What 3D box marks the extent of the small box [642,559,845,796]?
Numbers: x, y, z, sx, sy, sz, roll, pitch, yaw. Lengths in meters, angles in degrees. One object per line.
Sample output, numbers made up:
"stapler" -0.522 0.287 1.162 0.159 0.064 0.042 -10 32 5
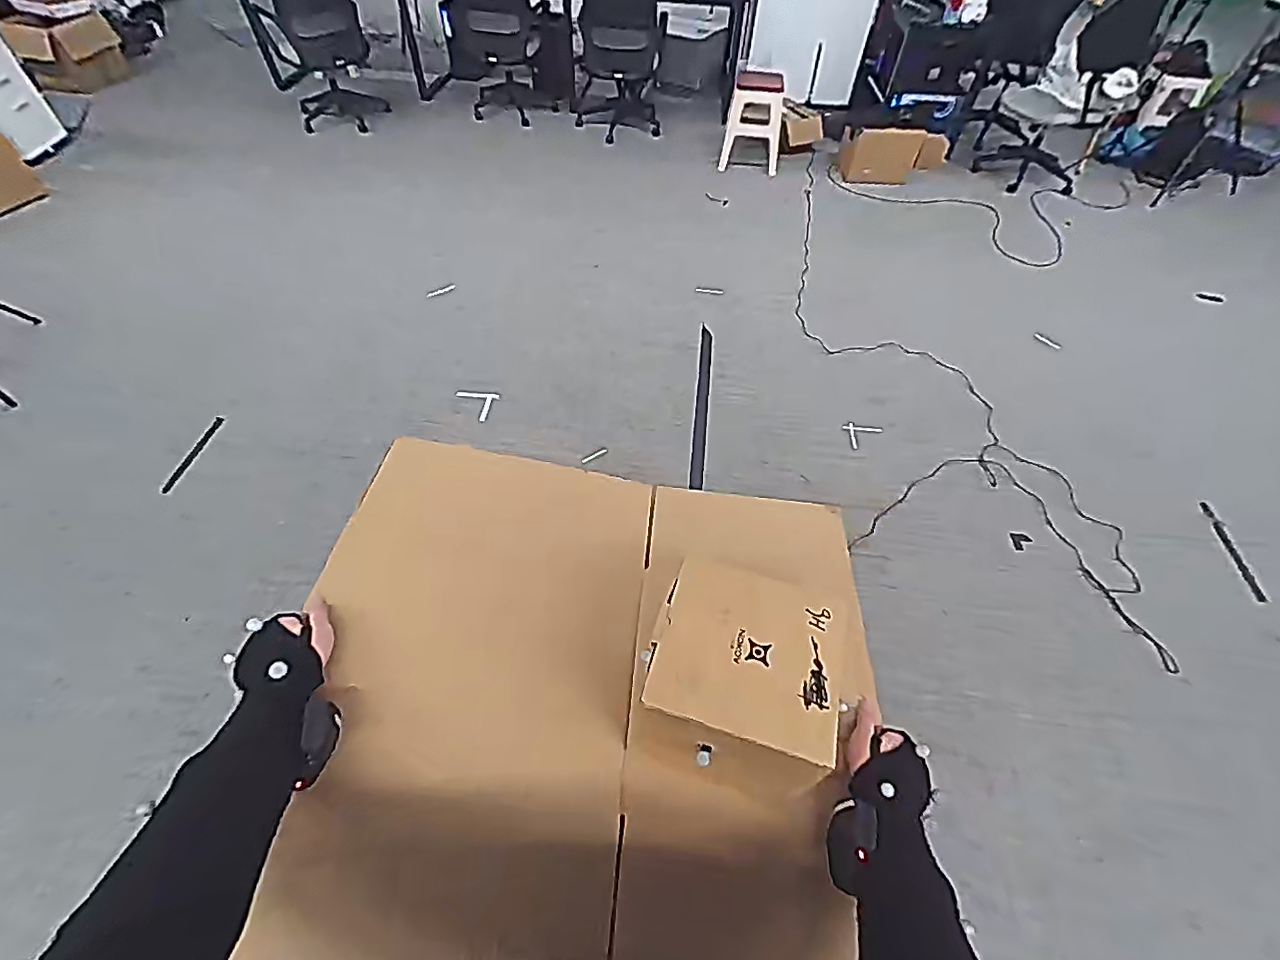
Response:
"small box" 0.106 0.216 0.587 0.179 0.176 0.168 14 49 10
